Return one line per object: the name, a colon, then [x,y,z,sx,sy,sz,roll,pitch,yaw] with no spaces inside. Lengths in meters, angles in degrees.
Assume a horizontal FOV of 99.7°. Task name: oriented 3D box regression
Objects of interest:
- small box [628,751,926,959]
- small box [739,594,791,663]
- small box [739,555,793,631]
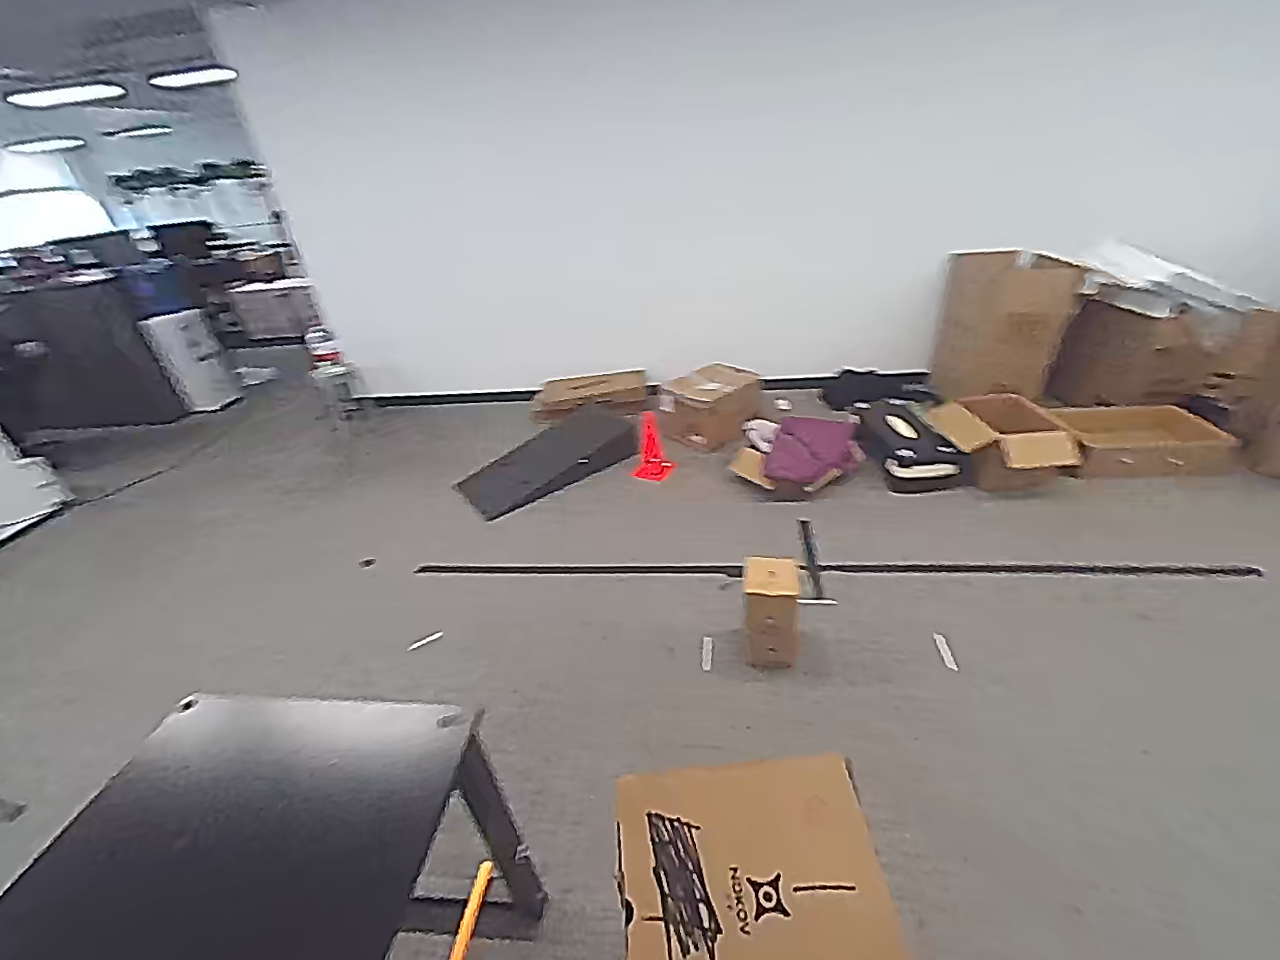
small box: [0.088,0.328,0.407,0.179,0.176,0.168,-5,43,-1]
small box: [0.433,0.516,1.882,0.168,0.176,0.179,-2,33,8]
small box: [0.418,0.374,1.798,0.168,0.176,0.179,1,33,13]
